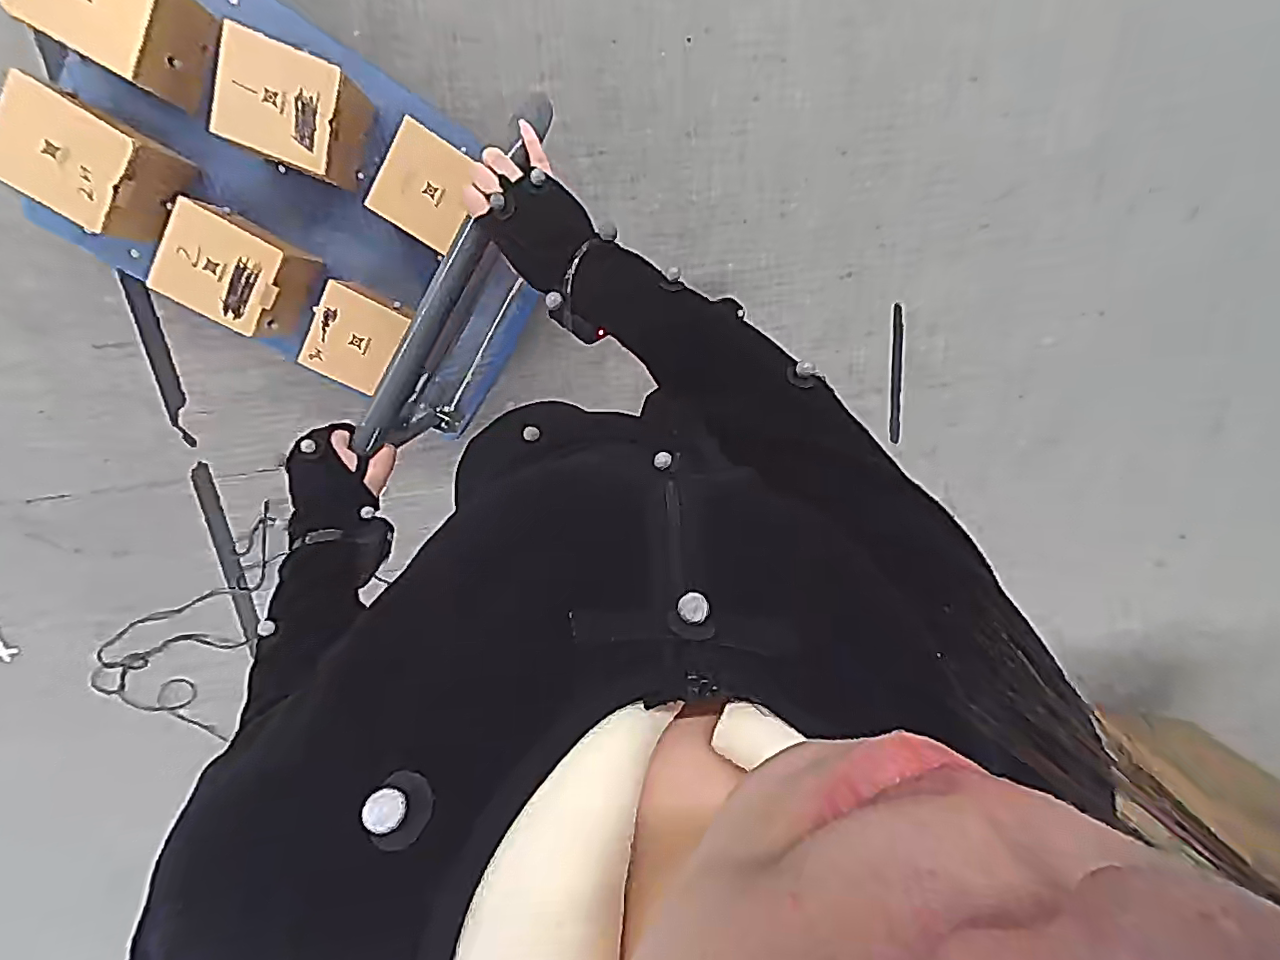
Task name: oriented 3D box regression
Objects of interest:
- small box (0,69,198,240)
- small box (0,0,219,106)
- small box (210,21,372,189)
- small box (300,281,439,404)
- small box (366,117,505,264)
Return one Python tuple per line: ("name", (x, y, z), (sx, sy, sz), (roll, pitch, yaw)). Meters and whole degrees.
("small box", (-0.920, -0.531, 0.918), (0.179, 0.176, 0.168), (30, 101, -17))
("small box", (-0.831, -0.742, 0.867), (0.179, 0.176, 0.168), (26, 102, -16))
("small box", (-0.593, -0.631, 0.940), (0.179, 0.176, 0.168), (17, 104, -13))
("small box", (-0.519, -0.272, 1.065), (0.179, 0.176, 0.168), (25, 101, -16))
("small box", (-0.369, -0.524, 1.012), (0.179, 0.176, 0.168), (29, 100, -16))
